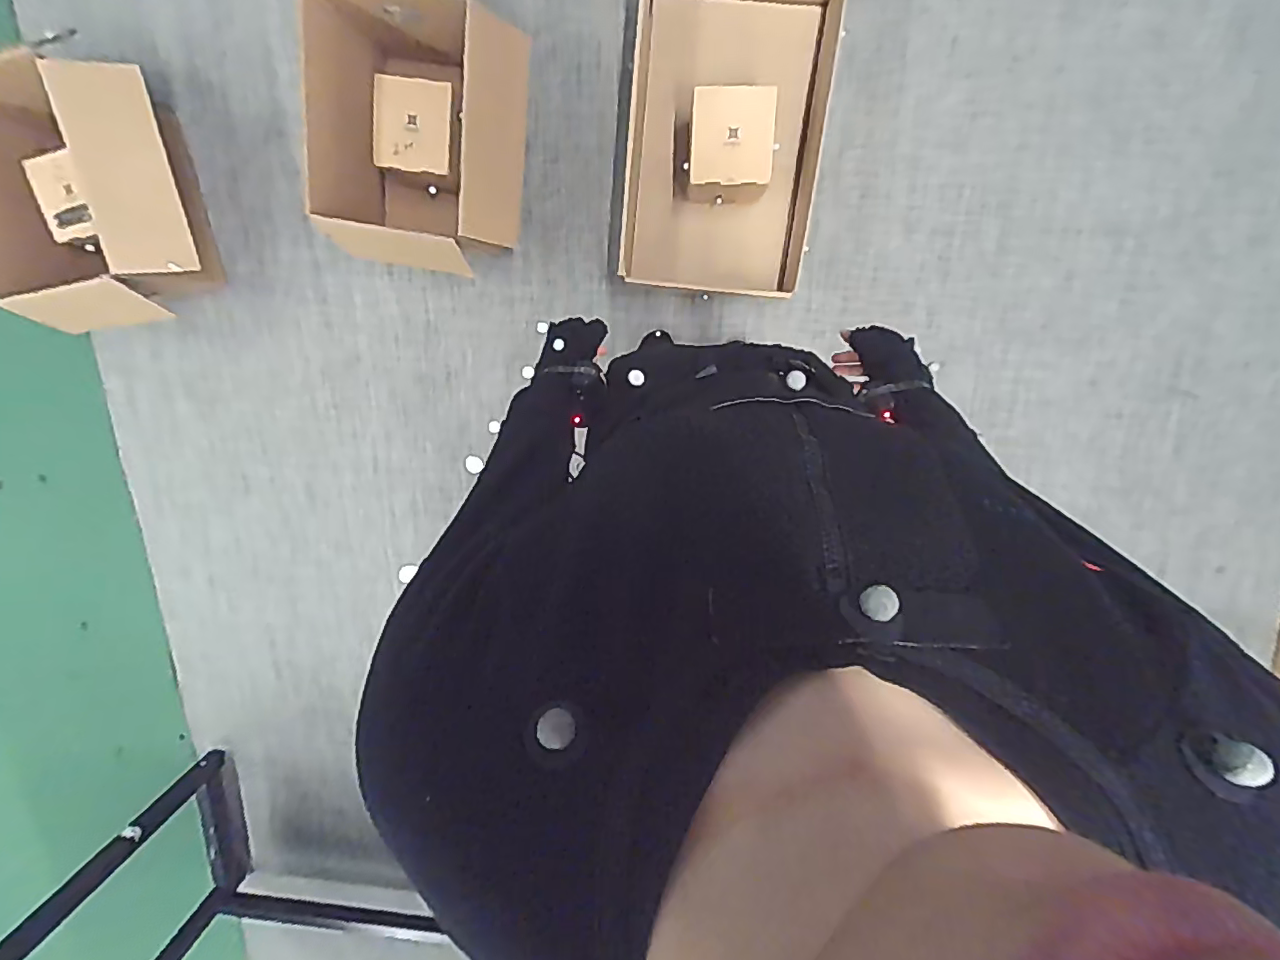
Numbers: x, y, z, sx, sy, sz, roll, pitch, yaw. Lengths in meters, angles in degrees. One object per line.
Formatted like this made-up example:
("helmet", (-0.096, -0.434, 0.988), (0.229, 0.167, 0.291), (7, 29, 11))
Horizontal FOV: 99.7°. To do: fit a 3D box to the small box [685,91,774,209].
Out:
("small box", (0.184, -0.700, 1.161), (0.168, 0.176, 0.179), (1, 105, 3))
